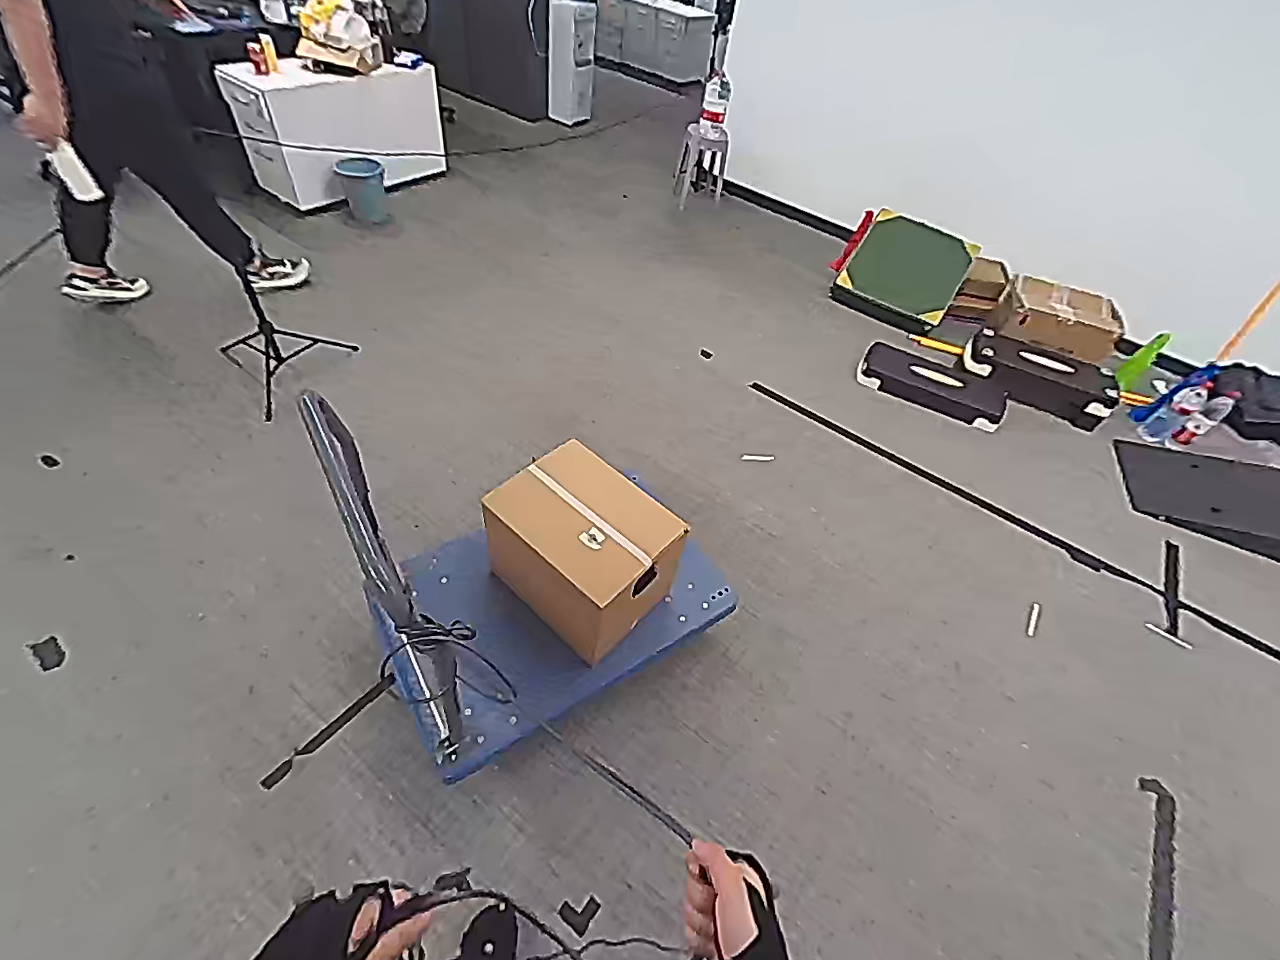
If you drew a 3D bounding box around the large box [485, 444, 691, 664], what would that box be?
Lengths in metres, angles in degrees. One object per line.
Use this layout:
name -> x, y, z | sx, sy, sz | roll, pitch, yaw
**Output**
large box -> -0.144, 0.183, 1.394 | 0.408, 0.320, 0.320 | 37, 54, 20
